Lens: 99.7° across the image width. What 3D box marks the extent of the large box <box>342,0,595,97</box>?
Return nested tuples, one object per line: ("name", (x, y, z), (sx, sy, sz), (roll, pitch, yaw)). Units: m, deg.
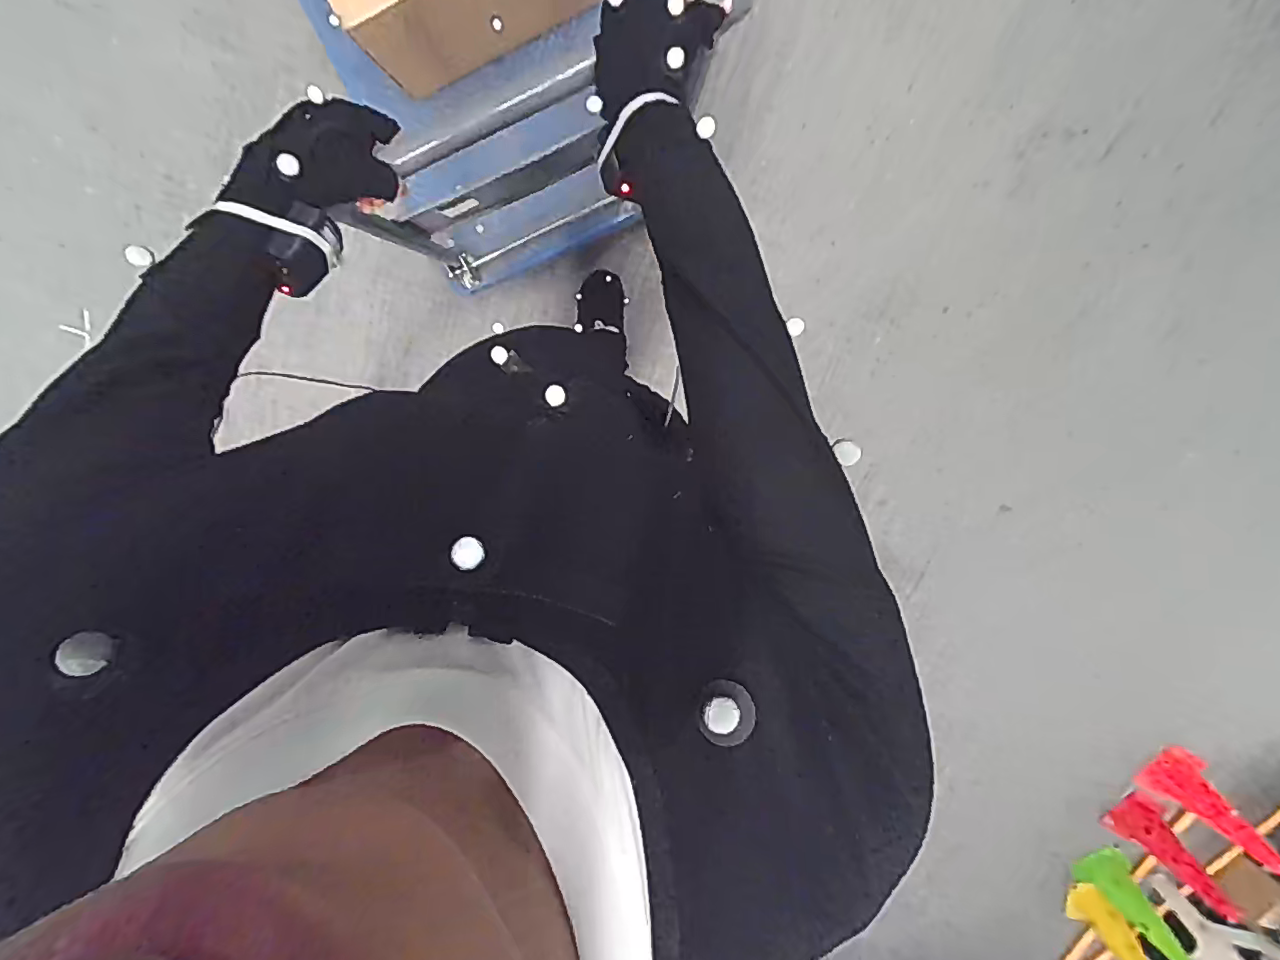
("large box", (-0.296, -0.902, 0.847), (0.408, 0.320, 0.320), (-25, 108, 6))
